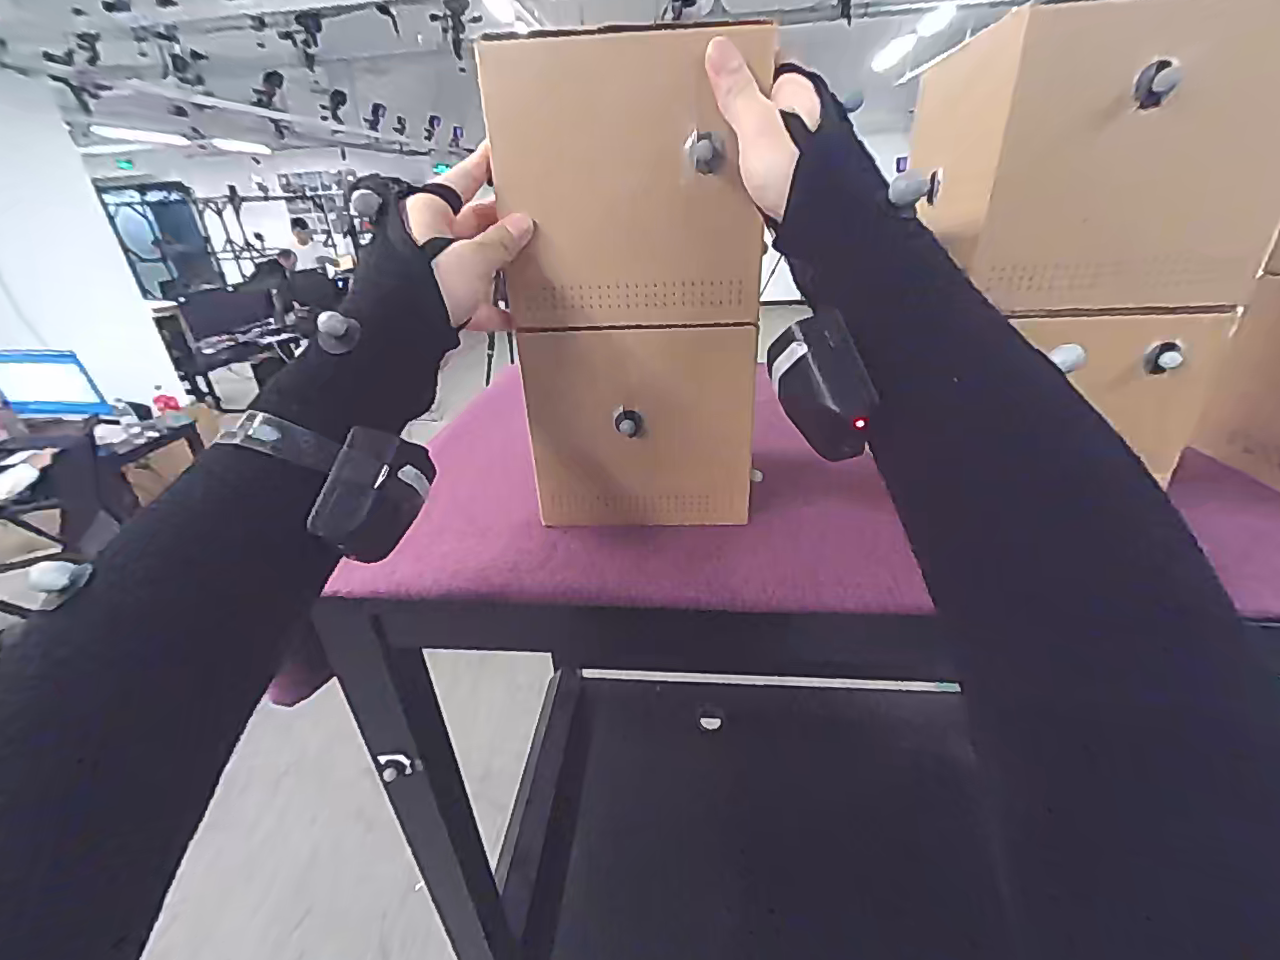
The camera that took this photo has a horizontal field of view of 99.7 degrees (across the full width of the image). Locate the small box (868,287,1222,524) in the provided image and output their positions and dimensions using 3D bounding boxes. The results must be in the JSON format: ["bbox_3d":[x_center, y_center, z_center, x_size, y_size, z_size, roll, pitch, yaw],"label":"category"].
[{"bbox_3d":[0.310,-0.072,0.467,0.179,0.176,0.168,0,26,5],"label":"small box"}]

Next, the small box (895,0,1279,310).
[{"bbox_3d":[0.303,-0.220,0.395,0.179,0.176,0.168,0,27,6],"label":"small box"}]

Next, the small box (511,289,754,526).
[{"bbox_3d":[0.002,-0.069,0.489,0.179,0.176,0.168,-2,27,4],"label":"small box"}]
